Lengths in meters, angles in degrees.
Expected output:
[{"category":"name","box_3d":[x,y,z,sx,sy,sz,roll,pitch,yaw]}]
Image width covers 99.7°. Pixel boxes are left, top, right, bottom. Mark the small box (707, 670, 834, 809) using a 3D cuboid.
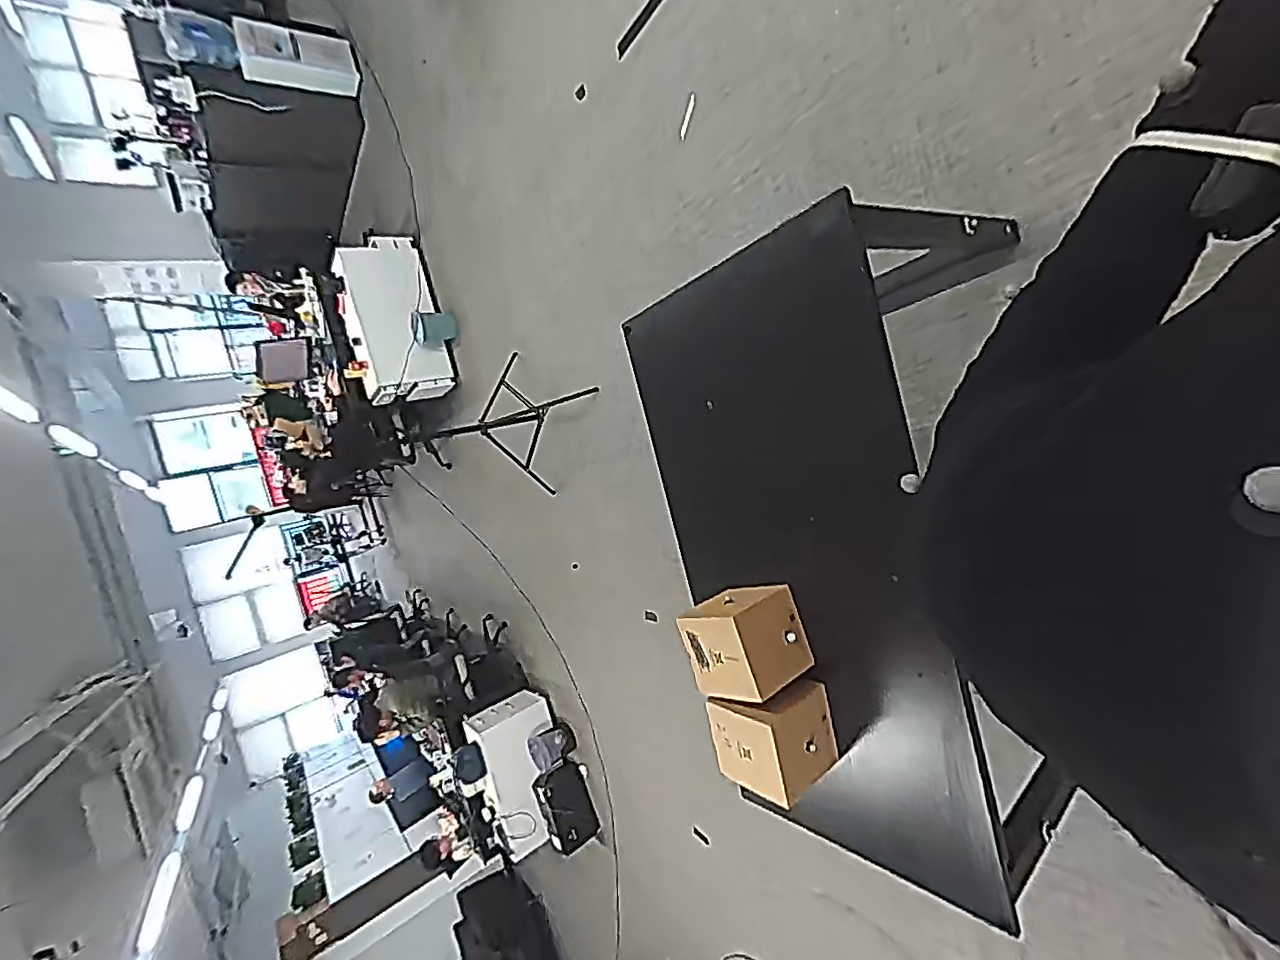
[{"category":"small box","box_3d":[0.265,0.500,1.076,0.179,0.176,0.168,-6,97,55]}]
